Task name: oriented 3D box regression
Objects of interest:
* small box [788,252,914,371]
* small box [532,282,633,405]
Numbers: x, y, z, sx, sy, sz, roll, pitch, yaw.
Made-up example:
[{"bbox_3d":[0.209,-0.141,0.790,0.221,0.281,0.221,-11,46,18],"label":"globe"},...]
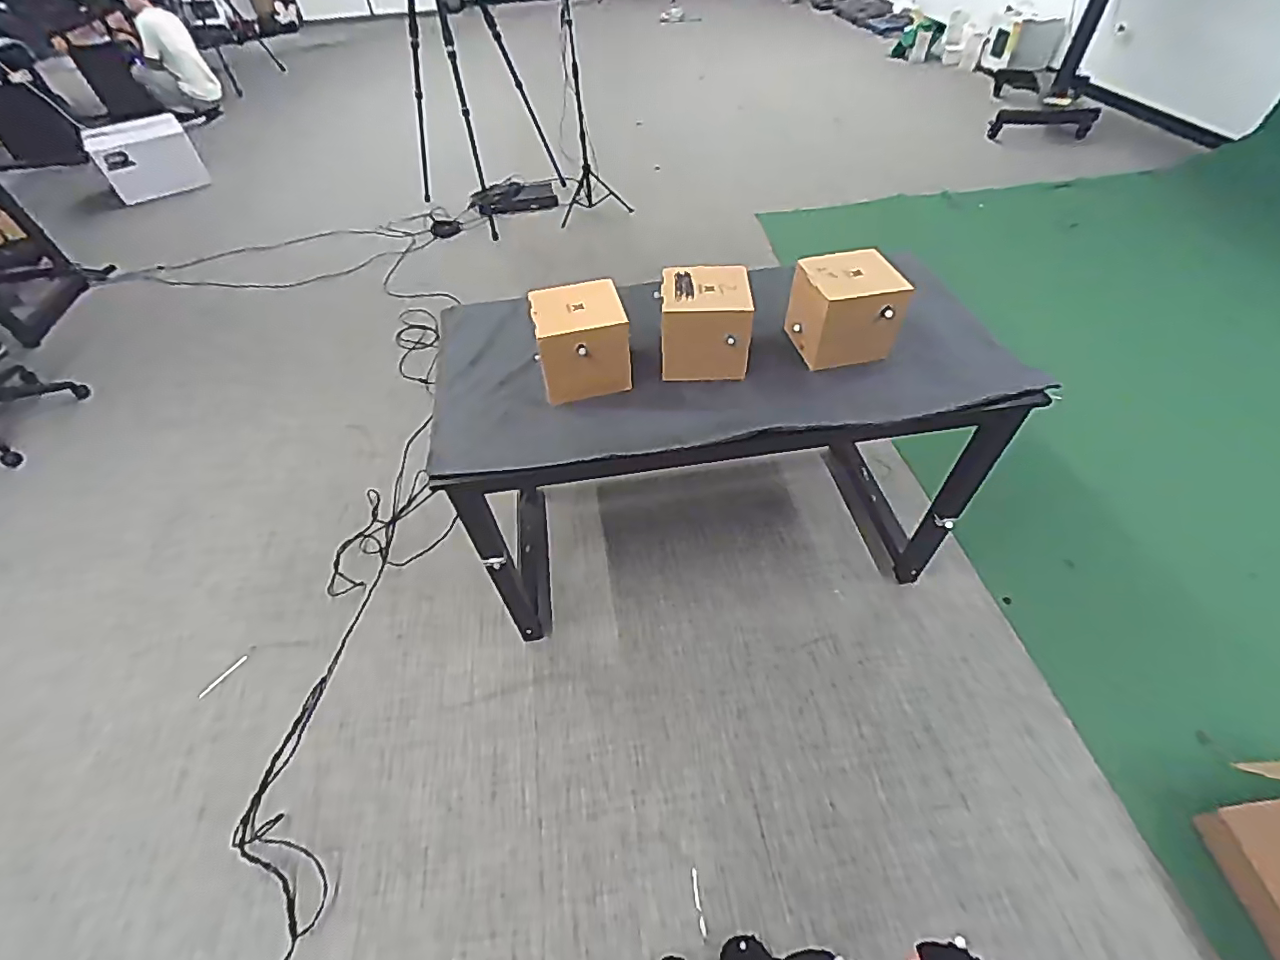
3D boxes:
[{"bbox_3d":[0.432,-0.353,1.139,0.179,0.176,0.168,-10,49,-4],"label":"small box"},{"bbox_3d":[-0.115,-0.279,1.116,0.179,0.176,0.168,-13,50,-6],"label":"small box"}]
